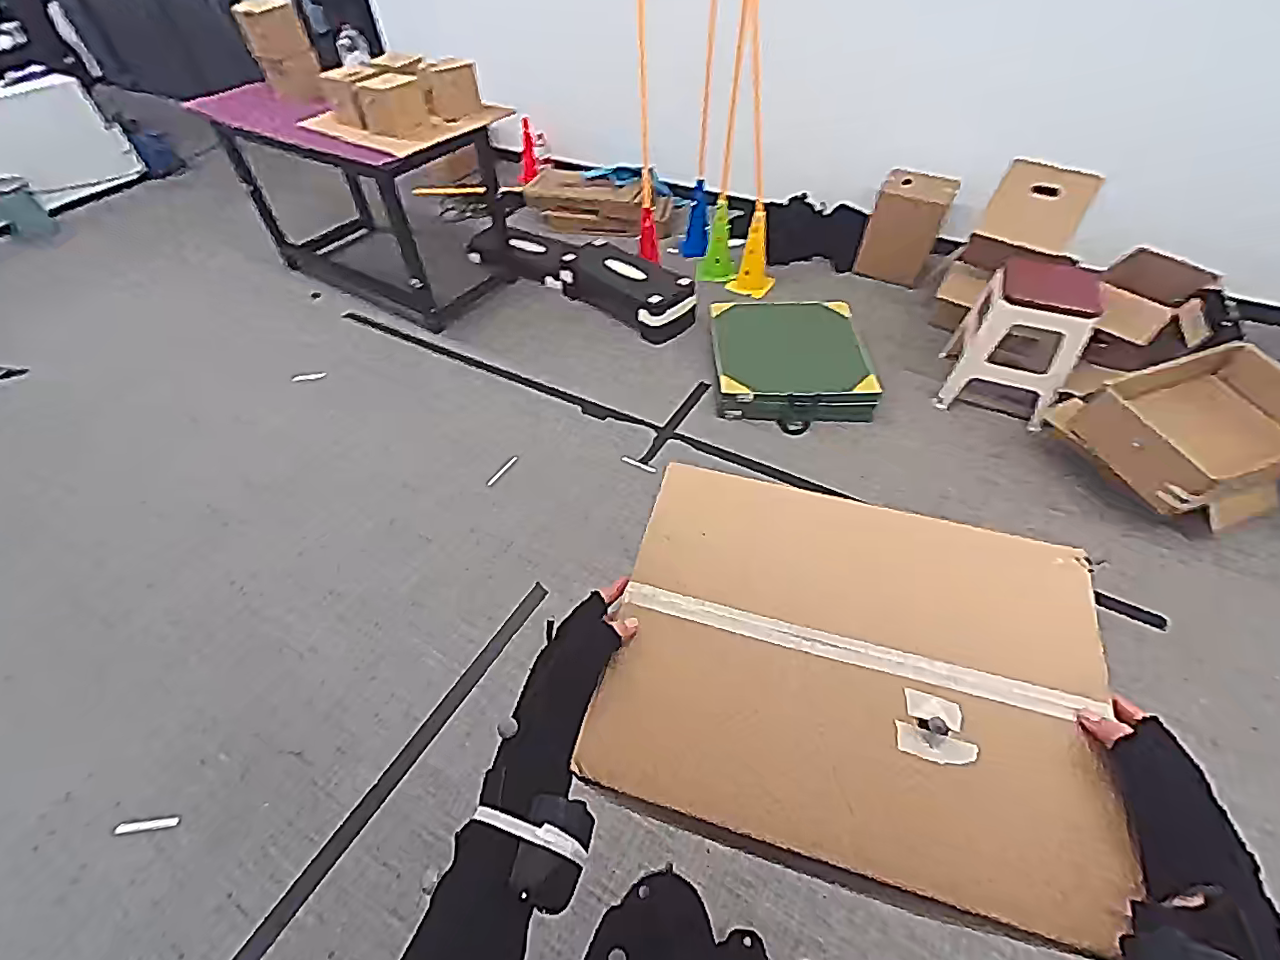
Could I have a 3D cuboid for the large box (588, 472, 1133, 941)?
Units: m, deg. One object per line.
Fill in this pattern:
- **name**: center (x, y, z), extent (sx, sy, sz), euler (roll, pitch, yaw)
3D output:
- **large box**: center (0.191, 0.234, 0.603), extent (0.408, 0.320, 0.320), euler (13, 58, 11)
